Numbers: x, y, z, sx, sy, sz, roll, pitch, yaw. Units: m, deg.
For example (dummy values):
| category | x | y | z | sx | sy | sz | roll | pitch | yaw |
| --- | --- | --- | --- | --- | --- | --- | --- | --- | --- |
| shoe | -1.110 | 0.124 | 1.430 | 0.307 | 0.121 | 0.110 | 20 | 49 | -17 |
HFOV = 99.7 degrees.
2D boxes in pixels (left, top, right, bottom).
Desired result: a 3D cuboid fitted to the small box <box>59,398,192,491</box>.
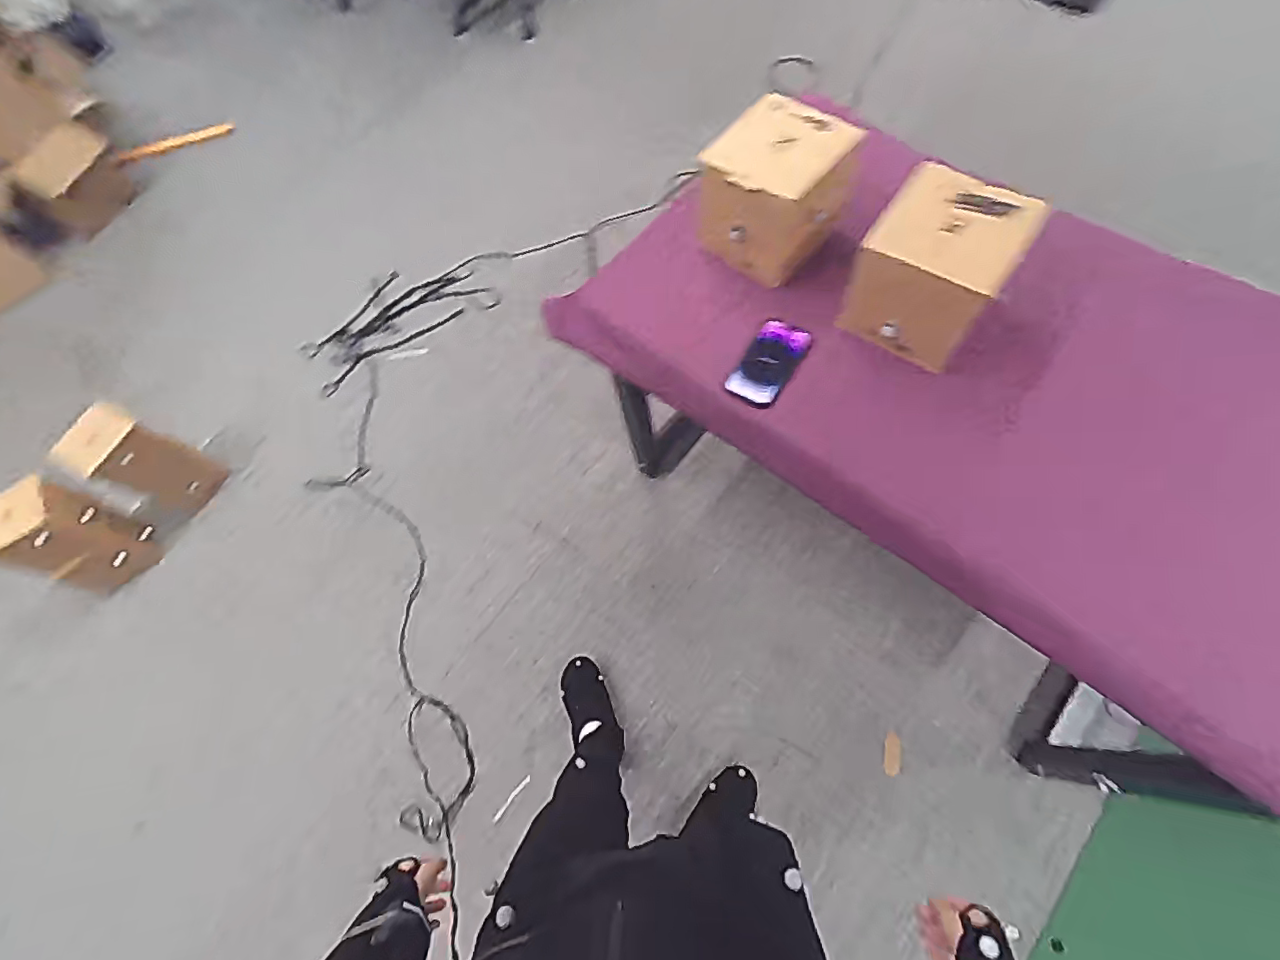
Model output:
| category | x | y | z | sx | sy | sz | roll | pitch | yaw |
| --- | --- | --- | --- | --- | --- | --- | --- | --- | --- |
| small box | -1.427 | -0.092 | 1.512 | 0.168 | 0.176 | 0.179 | 25 | 73 | 15 |

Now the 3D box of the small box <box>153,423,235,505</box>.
| category | x | y | z | sx | sy | sz | roll | pitch | yaw |
| --- | --- | --- | --- | --- | --- | --- | --- | --- | --- |
| small box | -1.413 | -0.042 | 1.667 | 0.179 | 0.176 | 0.168 | 29 | 74 | 18 |

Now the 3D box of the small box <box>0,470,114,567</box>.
| category | x | y | z | sx | sy | sz | roll | pitch | yaw |
| --- | --- | --- | --- | --- | --- | --- | --- | --- | --- |
| small box | -1.582 | 0.110 | 1.450 | 0.179 | 0.176 | 0.168 | -32 | 67 | -8 |

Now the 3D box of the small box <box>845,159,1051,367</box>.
| category | x | y | z | sx | sy | sz | roll | pitch | yaw |
| --- | --- | --- | --- | --- | --- | --- | --- | --- | --- |
| small box | 0.413 | -0.296 | 0.757 | 0.168 | 0.176 | 0.179 | 34 | 76 | 19 |

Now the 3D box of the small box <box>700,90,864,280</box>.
| category | x | y | z | sx | sy | sz | roll | pitch | yaw |
| --- | --- | --- | --- | --- | --- | --- | --- | --- | --- |
| small box | 0.214 | -0.452 | 0.848 | 0.168 | 0.176 | 0.179 | 39 | 78 | 20 |
